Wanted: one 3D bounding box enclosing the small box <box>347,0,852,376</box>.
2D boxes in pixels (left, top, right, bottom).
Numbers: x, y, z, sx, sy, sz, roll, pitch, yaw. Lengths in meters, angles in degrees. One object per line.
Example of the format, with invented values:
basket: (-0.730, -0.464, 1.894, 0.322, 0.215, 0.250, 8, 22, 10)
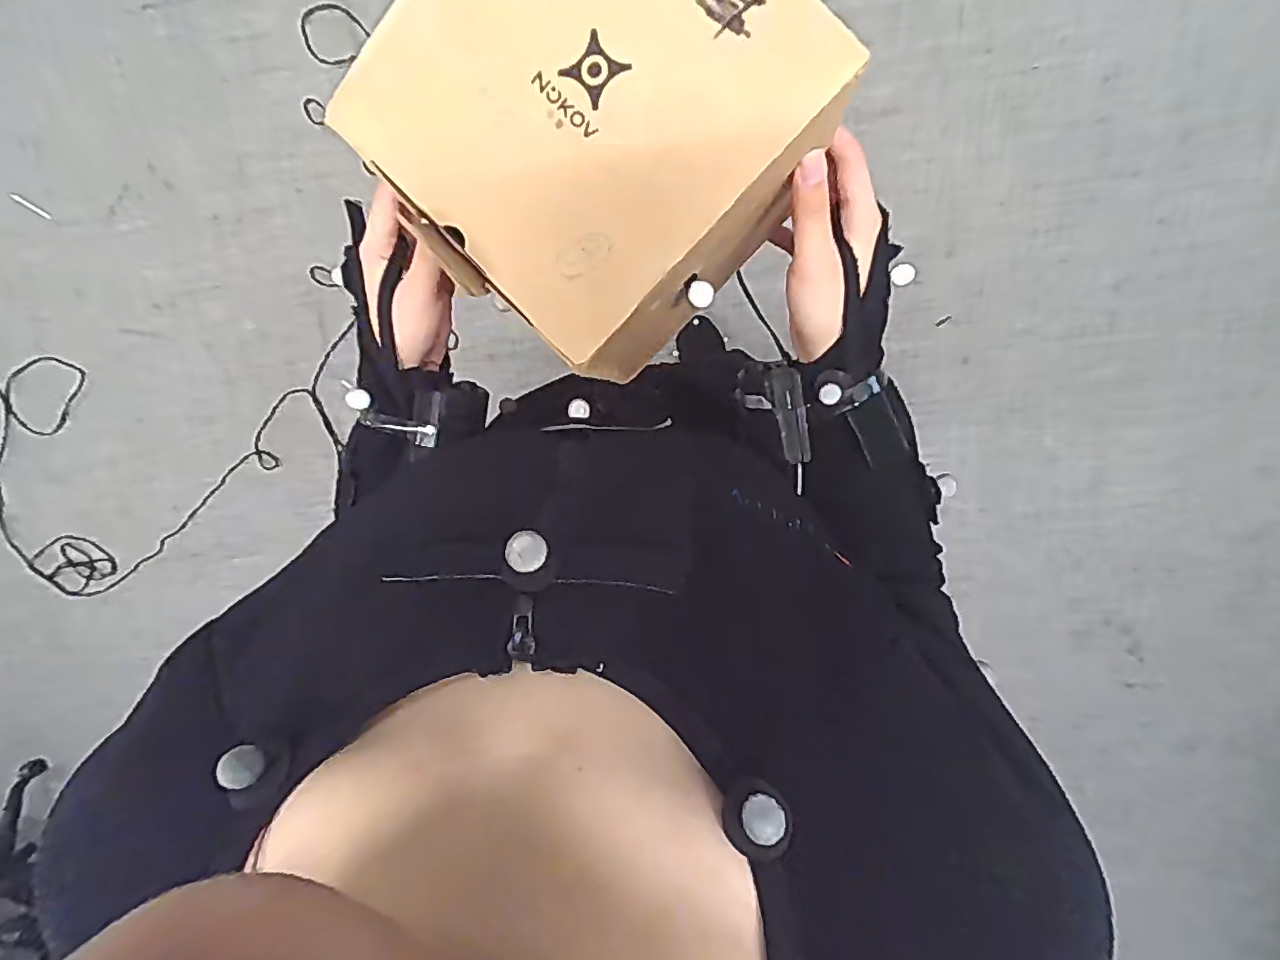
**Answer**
small box: (-0.014, -0.176, 0.318, 0.168, 0.176, 0.179, 45, 101, -2)
